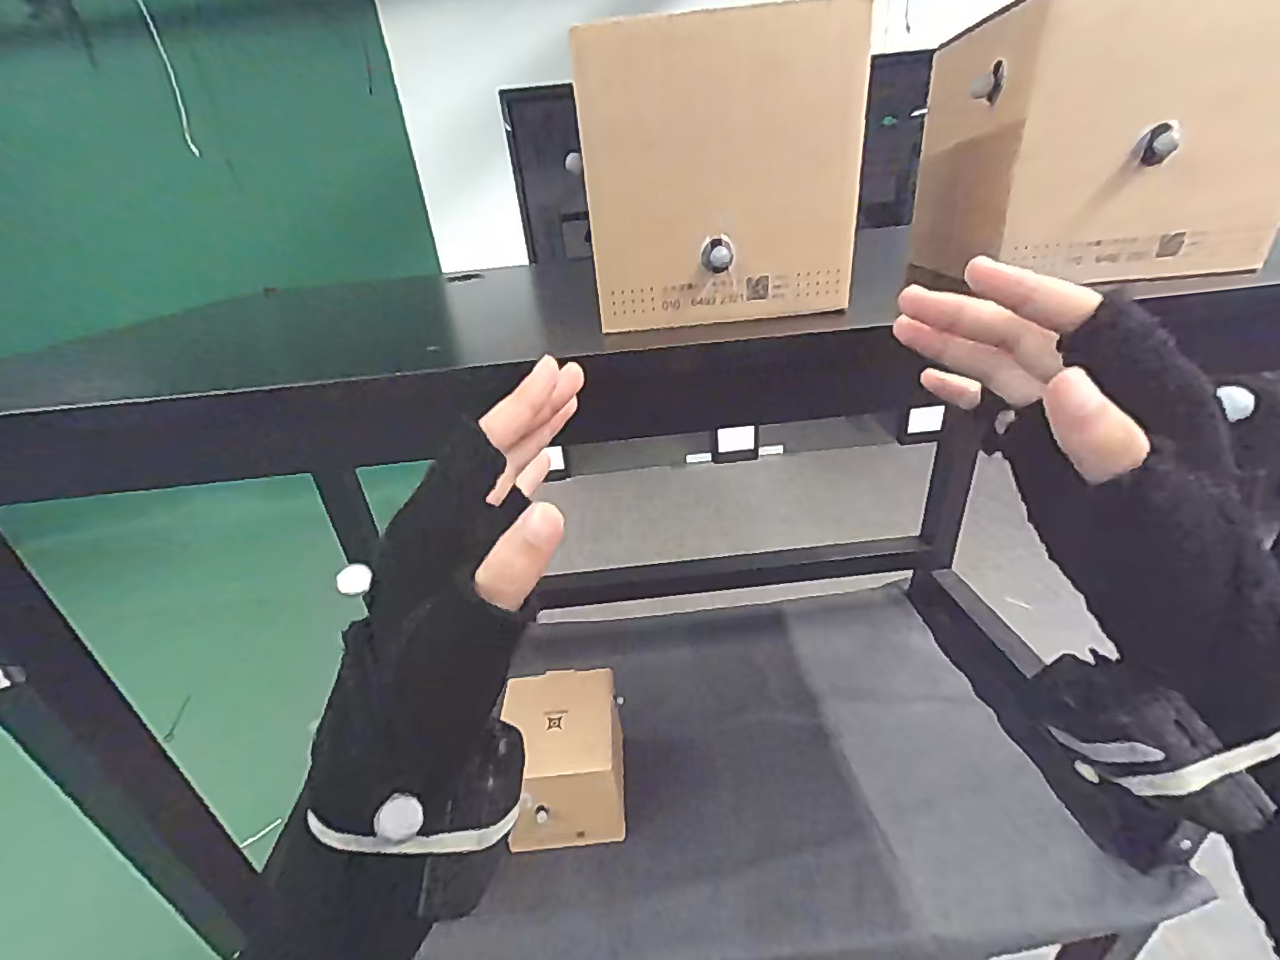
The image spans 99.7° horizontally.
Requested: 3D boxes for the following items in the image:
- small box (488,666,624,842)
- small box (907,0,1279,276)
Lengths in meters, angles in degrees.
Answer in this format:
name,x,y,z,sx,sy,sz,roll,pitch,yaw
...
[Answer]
name,x,y,z,sx,sy,sz,roll,pitch,yaw
small box,-0.114,0.411,0.811,0.168,0.176,0.179,-6,26,-1
small box,0.318,-0.250,0.401,0.168,0.176,0.179,-2,27,7
